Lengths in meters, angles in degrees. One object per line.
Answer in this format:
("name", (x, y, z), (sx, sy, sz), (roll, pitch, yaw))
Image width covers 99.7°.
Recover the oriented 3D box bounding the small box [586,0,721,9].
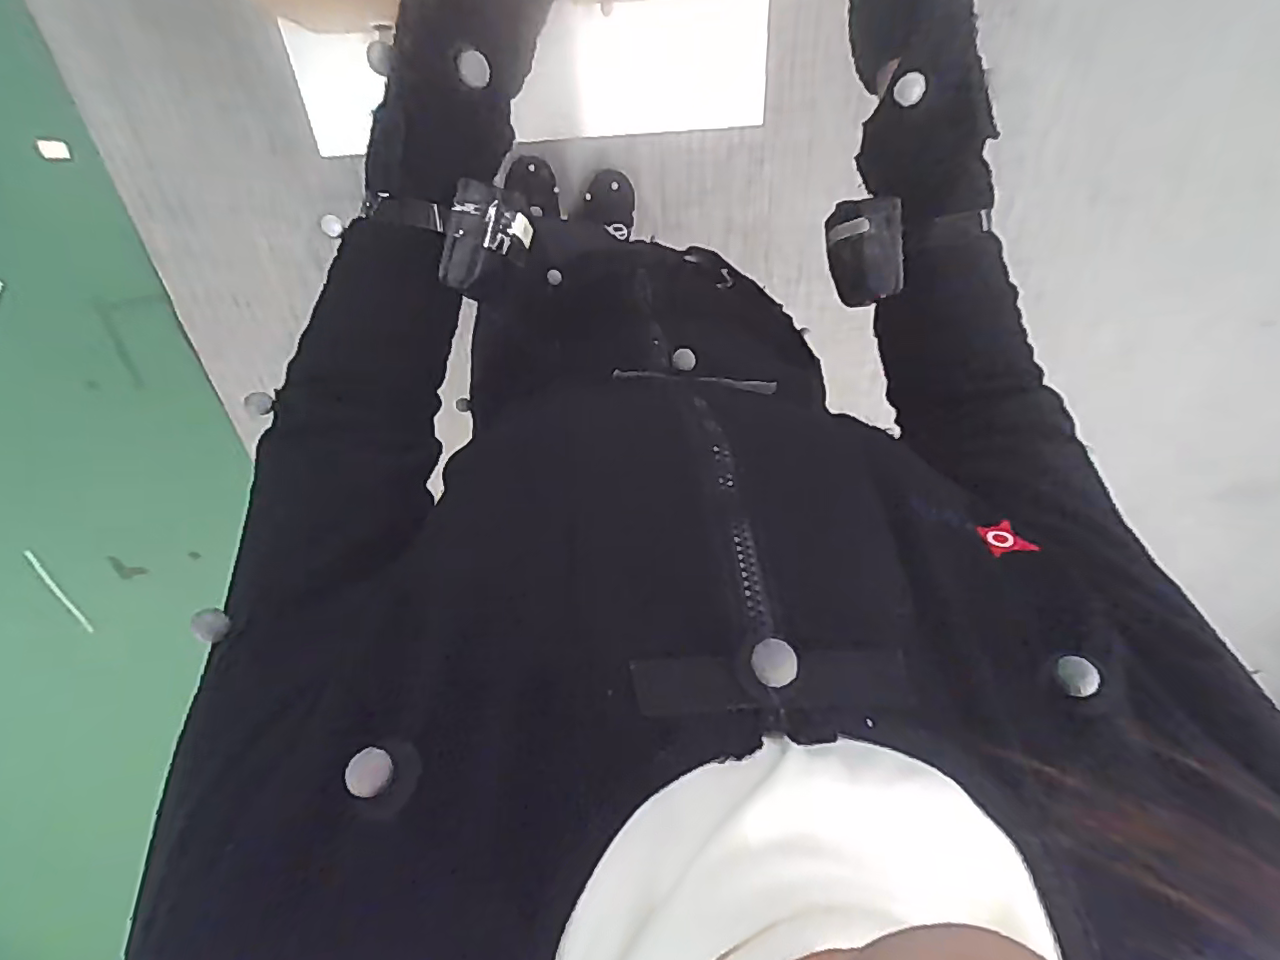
("small box", (0.018, -0.530, 0.460), (0.168, 0.176, 0.179), (-7, 122, -3))
